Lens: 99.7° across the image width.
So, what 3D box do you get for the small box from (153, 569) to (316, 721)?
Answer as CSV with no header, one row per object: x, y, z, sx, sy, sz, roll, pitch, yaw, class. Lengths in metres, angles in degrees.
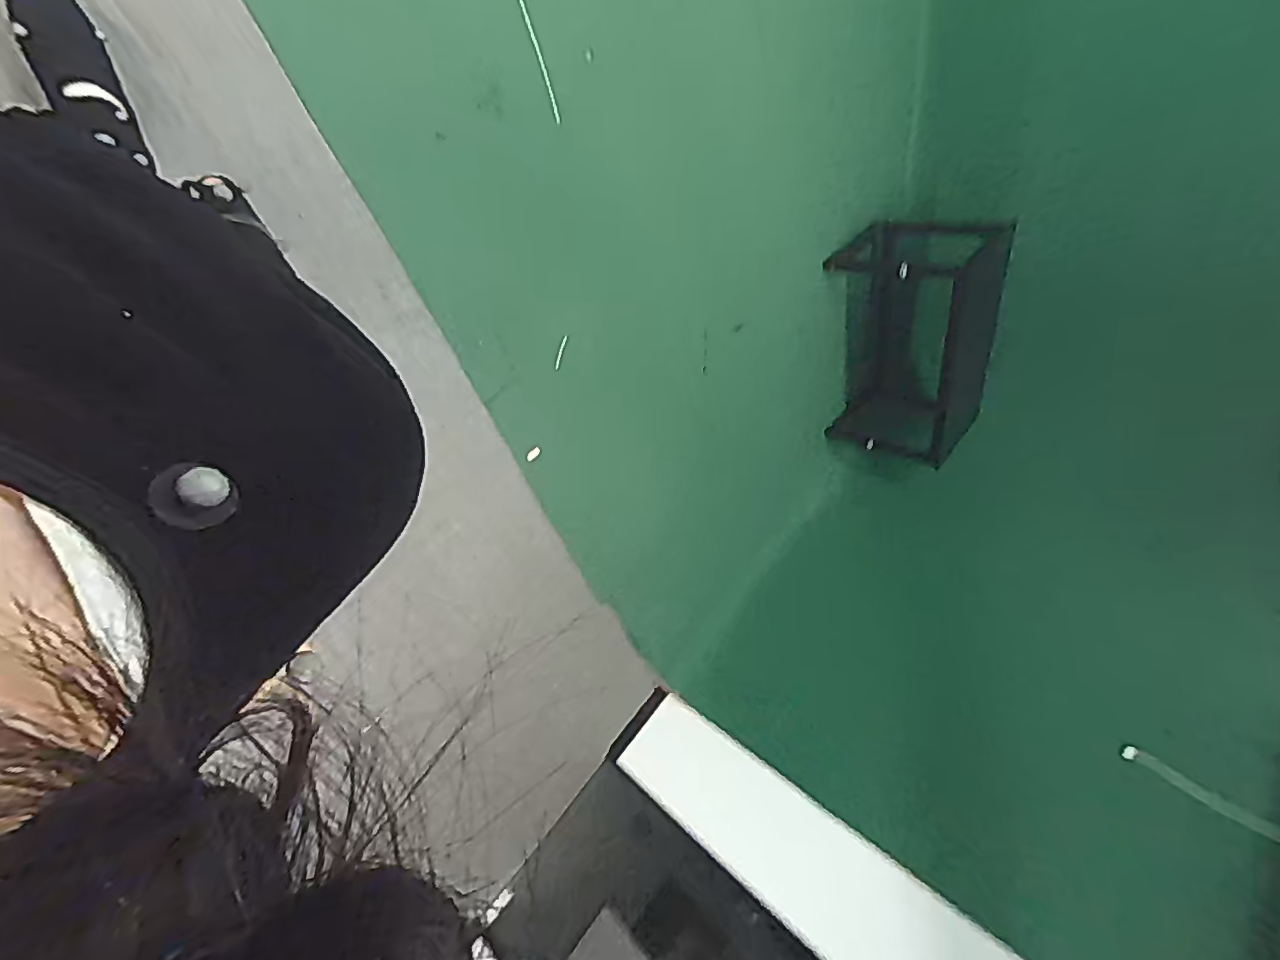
-0.754,0.297,1.003,0.179,0.176,0.168,-45,133,-20,small box
